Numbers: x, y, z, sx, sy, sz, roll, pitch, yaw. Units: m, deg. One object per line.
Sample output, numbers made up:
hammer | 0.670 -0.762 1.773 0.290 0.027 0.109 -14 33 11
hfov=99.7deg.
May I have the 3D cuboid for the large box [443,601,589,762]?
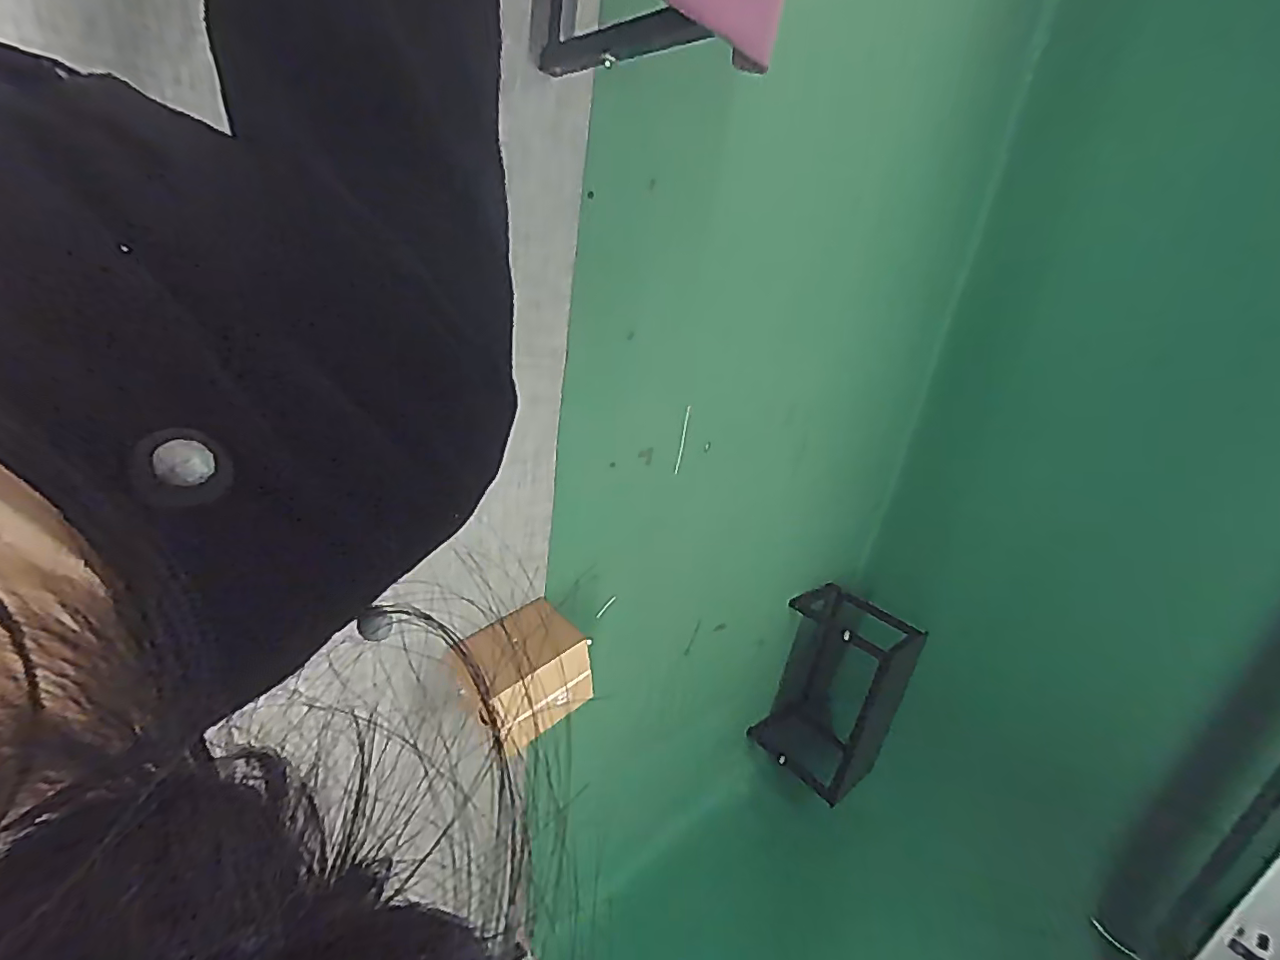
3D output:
large box | -0.449 0.723 1.994 0.408 0.320 0.320 -26 128 -35
